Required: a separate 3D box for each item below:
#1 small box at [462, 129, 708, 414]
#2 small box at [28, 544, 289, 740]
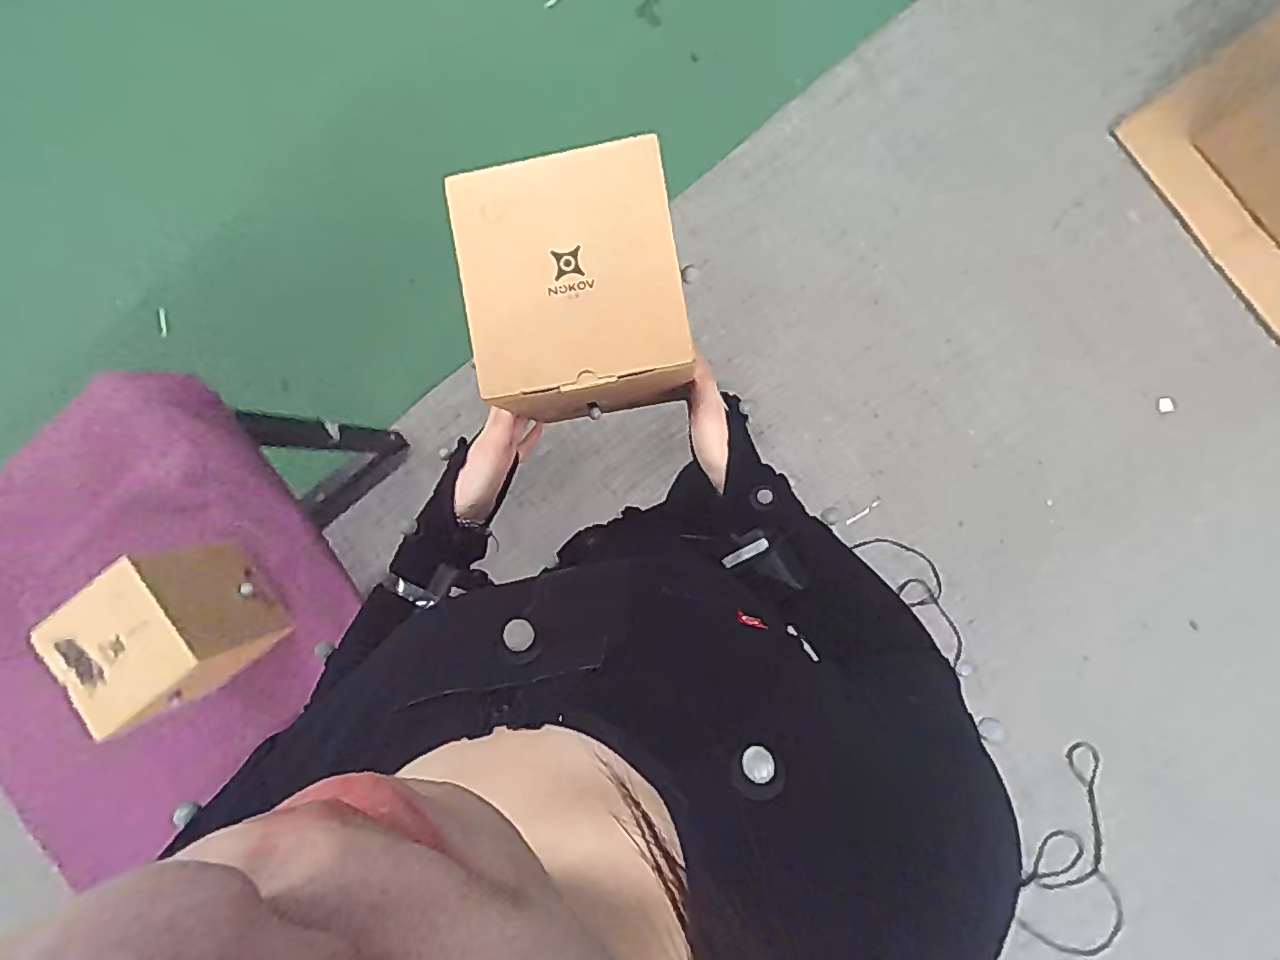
[{"bbox_3d":[-0.039,-0.164,0.482,0.168,0.176,0.179,-9,91,3],"label":"small box"},{"bbox_3d":[-0.643,0.209,0.745,0.179,0.176,0.168,-37,88,4],"label":"small box"}]
